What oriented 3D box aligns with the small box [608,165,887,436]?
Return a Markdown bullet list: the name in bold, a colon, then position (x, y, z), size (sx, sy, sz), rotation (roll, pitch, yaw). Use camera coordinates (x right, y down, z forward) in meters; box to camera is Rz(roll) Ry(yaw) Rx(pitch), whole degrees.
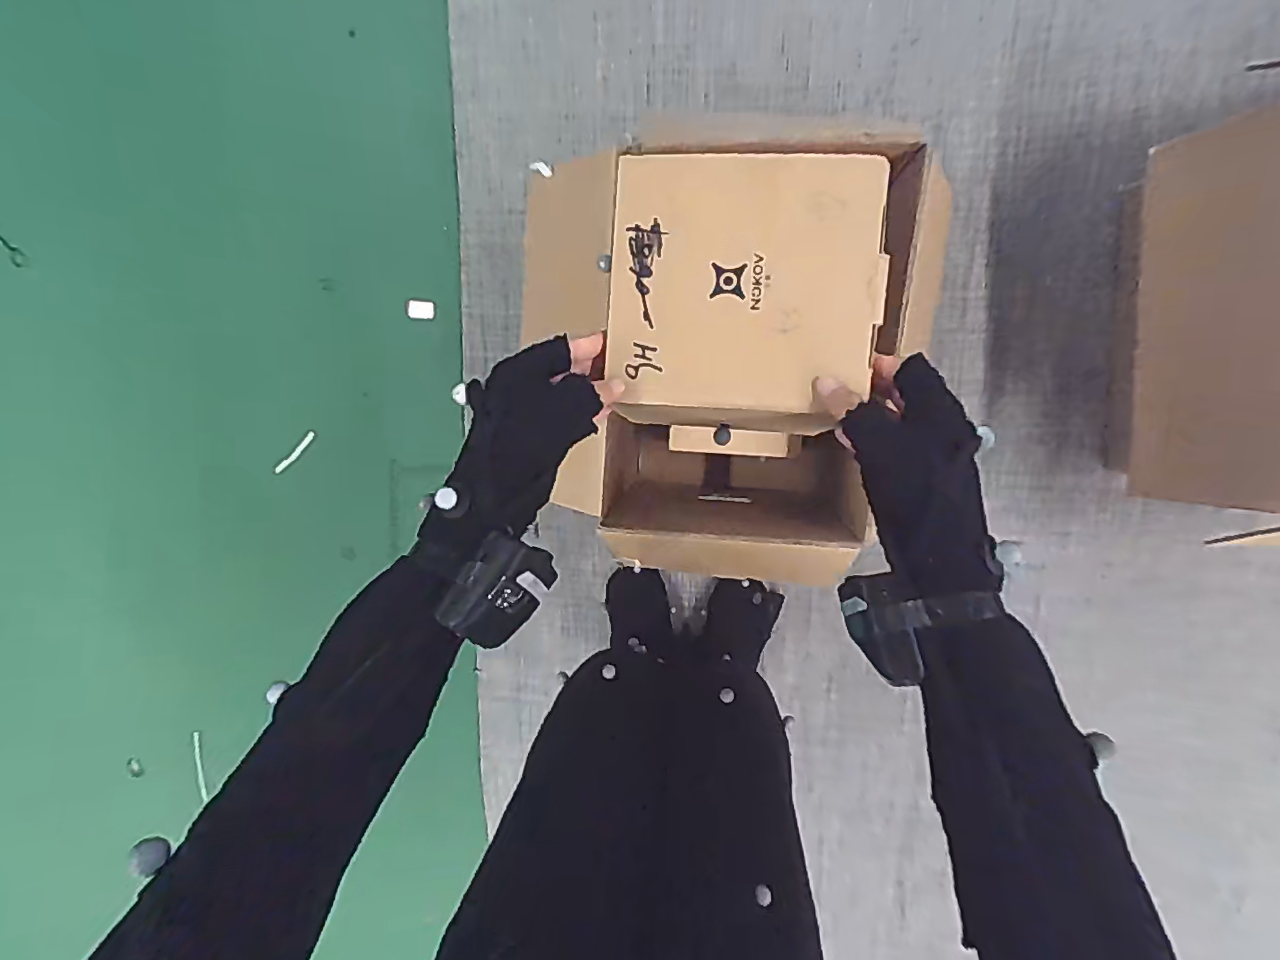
- **small box**: position (0.076, -0.126, 0.442), size (0.179, 0.176, 0.168), rotation (4, 91, 5)
